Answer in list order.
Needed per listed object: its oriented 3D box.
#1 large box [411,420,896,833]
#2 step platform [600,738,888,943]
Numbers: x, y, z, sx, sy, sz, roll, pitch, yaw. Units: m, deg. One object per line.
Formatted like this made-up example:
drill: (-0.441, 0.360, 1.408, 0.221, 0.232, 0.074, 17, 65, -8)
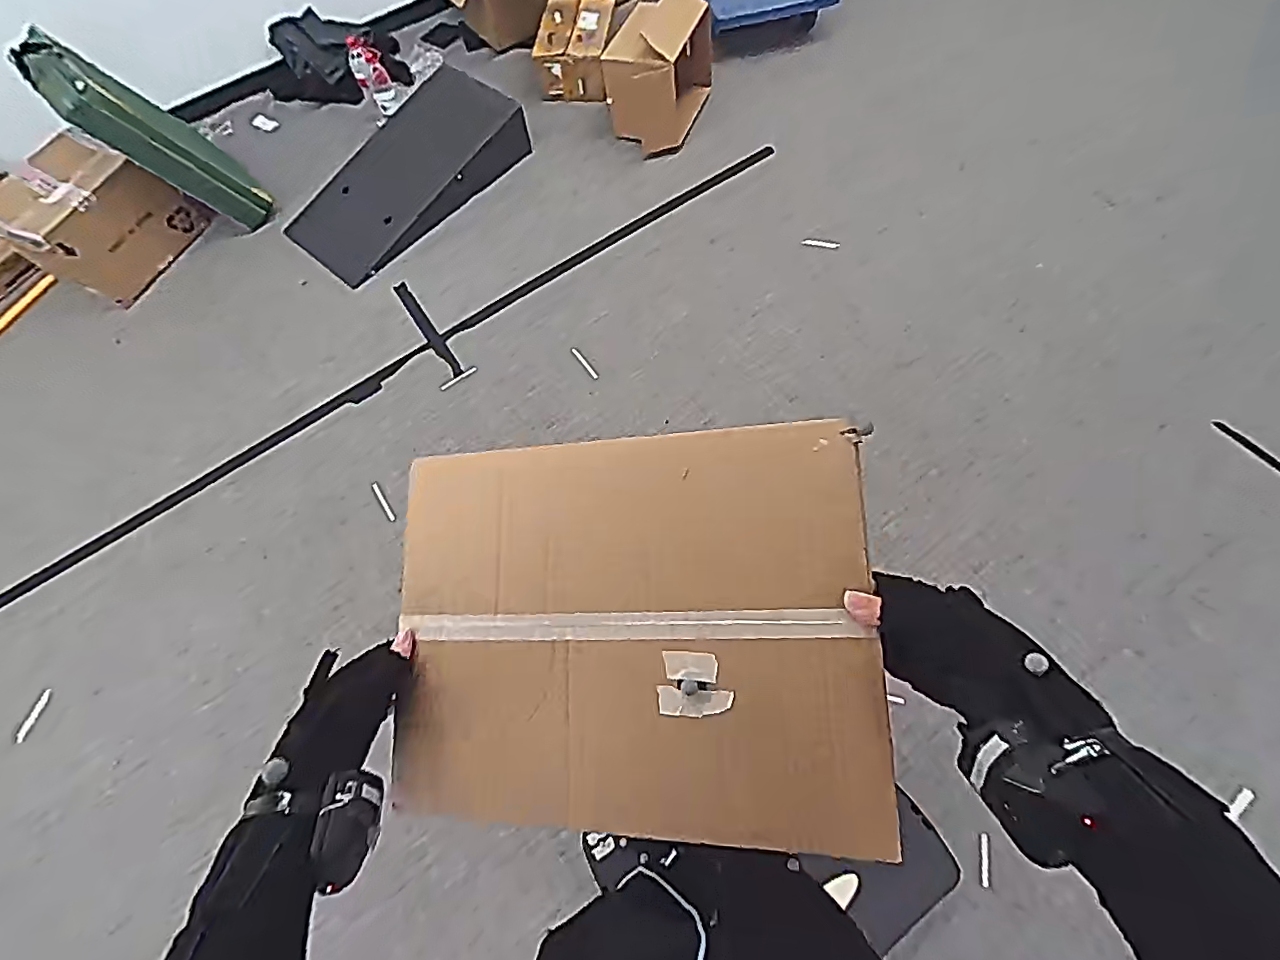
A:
large box: (0.020, 0.147, 0.598, 0.408, 0.320, 0.320, -5, 79, 14)
step platform: (0.242, 0.709, 1.277, 0.684, 0.204, 0.286, -35, 69, -12)
